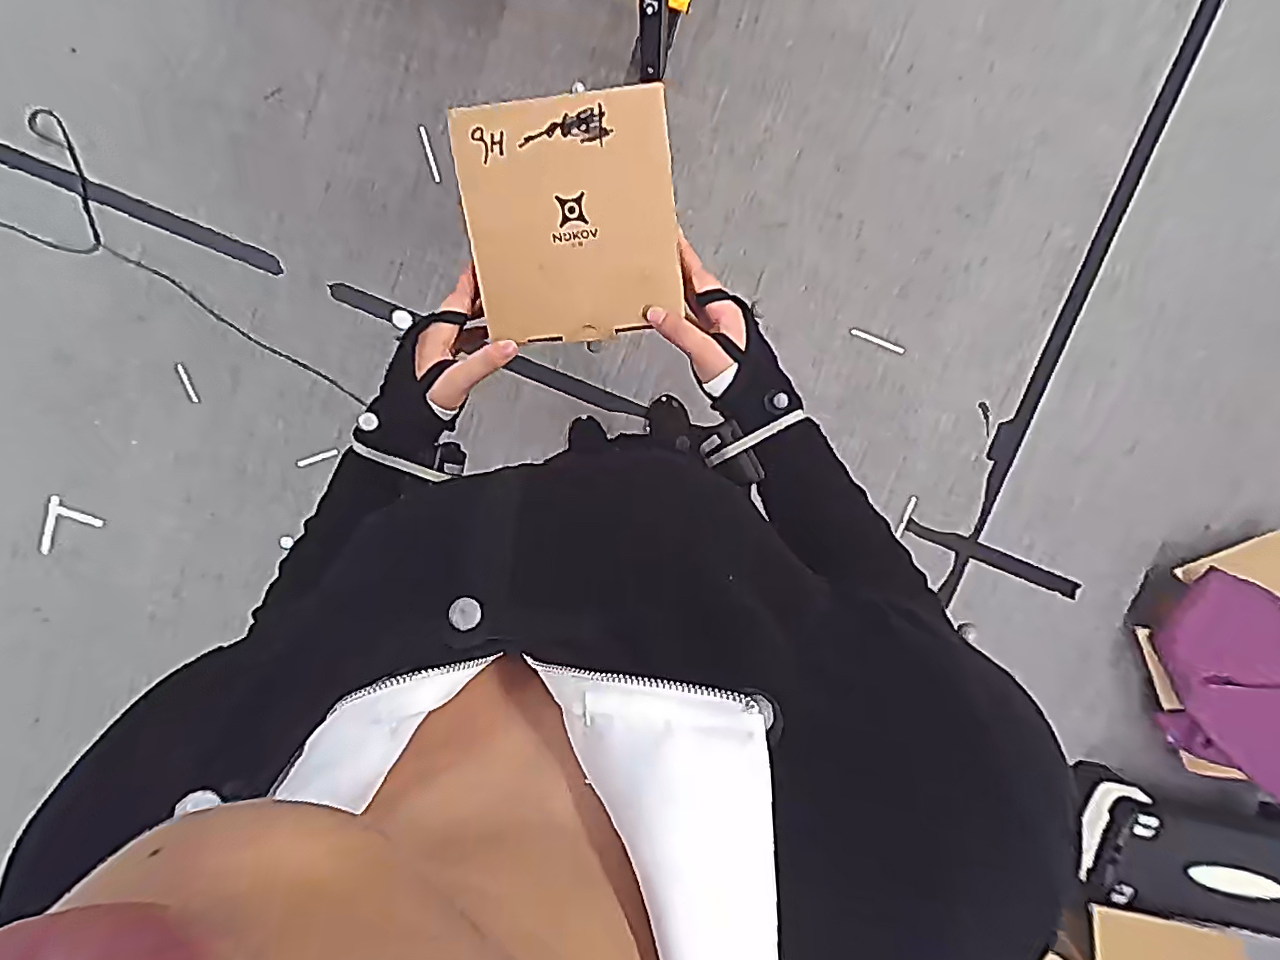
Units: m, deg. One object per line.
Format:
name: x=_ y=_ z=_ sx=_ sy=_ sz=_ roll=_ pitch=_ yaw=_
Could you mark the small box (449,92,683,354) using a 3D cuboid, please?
small box: x=-0.055 y=-0.222 z=0.503 sx=0.168 sy=0.176 sz=0.179 roll=-8 pitch=107 yaw=0
